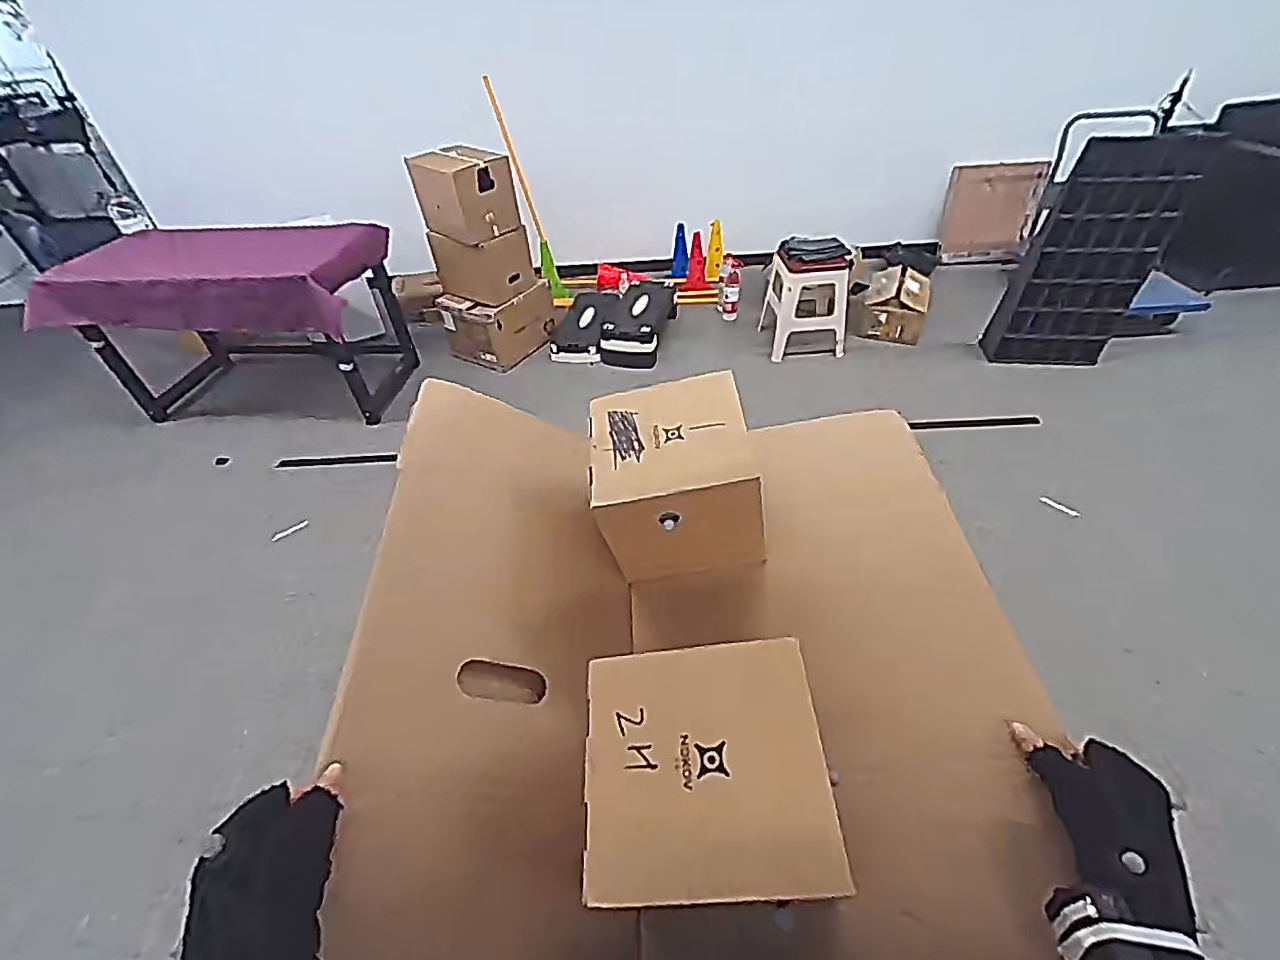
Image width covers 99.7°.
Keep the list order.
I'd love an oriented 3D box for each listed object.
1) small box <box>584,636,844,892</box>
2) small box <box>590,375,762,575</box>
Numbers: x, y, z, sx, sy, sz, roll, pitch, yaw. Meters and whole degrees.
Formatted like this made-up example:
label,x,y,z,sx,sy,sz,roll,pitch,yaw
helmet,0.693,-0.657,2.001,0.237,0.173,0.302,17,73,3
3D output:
label,x,y,z,sx,sy,sz,roll,pitch,yaw
small box,0.062,0.250,0.468,0.179,0.176,0.168,-9,51,10
small box,0.046,0.002,0.668,0.179,0.176,0.168,-11,51,7
